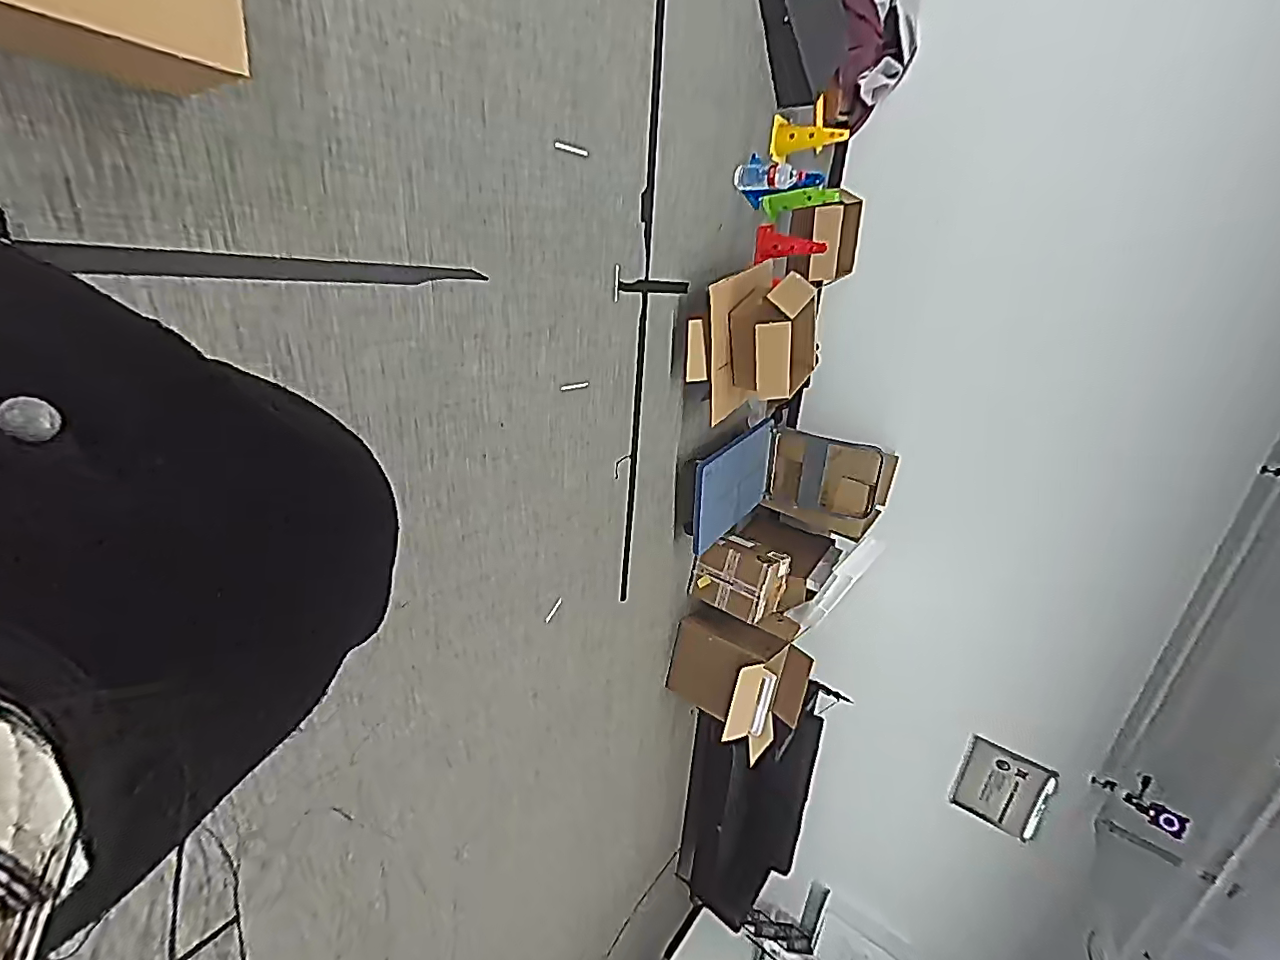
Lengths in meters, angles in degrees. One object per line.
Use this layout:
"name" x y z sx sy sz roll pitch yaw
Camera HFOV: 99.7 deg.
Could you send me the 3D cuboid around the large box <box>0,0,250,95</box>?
"large box" -0.860 -0.795 0.757 0.408 0.320 0.320 -20 123 -51
